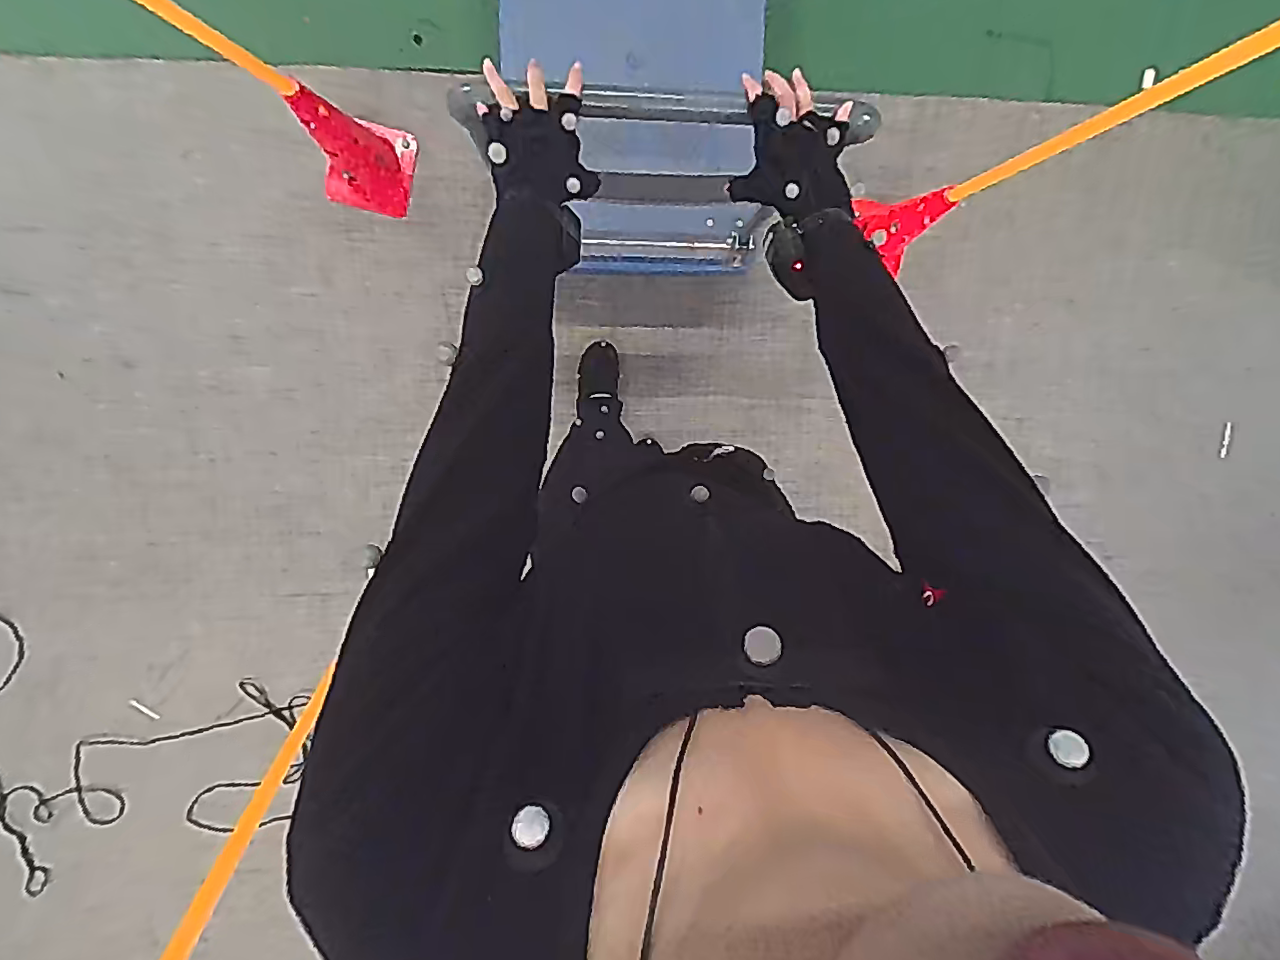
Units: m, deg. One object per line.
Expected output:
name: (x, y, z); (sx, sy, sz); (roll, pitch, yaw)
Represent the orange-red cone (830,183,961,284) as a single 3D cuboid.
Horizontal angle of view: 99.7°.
orange-red cone: (0.626, -0.610, 1.268); (0.198, 0.360, 0.199); (11, 99, -5)
